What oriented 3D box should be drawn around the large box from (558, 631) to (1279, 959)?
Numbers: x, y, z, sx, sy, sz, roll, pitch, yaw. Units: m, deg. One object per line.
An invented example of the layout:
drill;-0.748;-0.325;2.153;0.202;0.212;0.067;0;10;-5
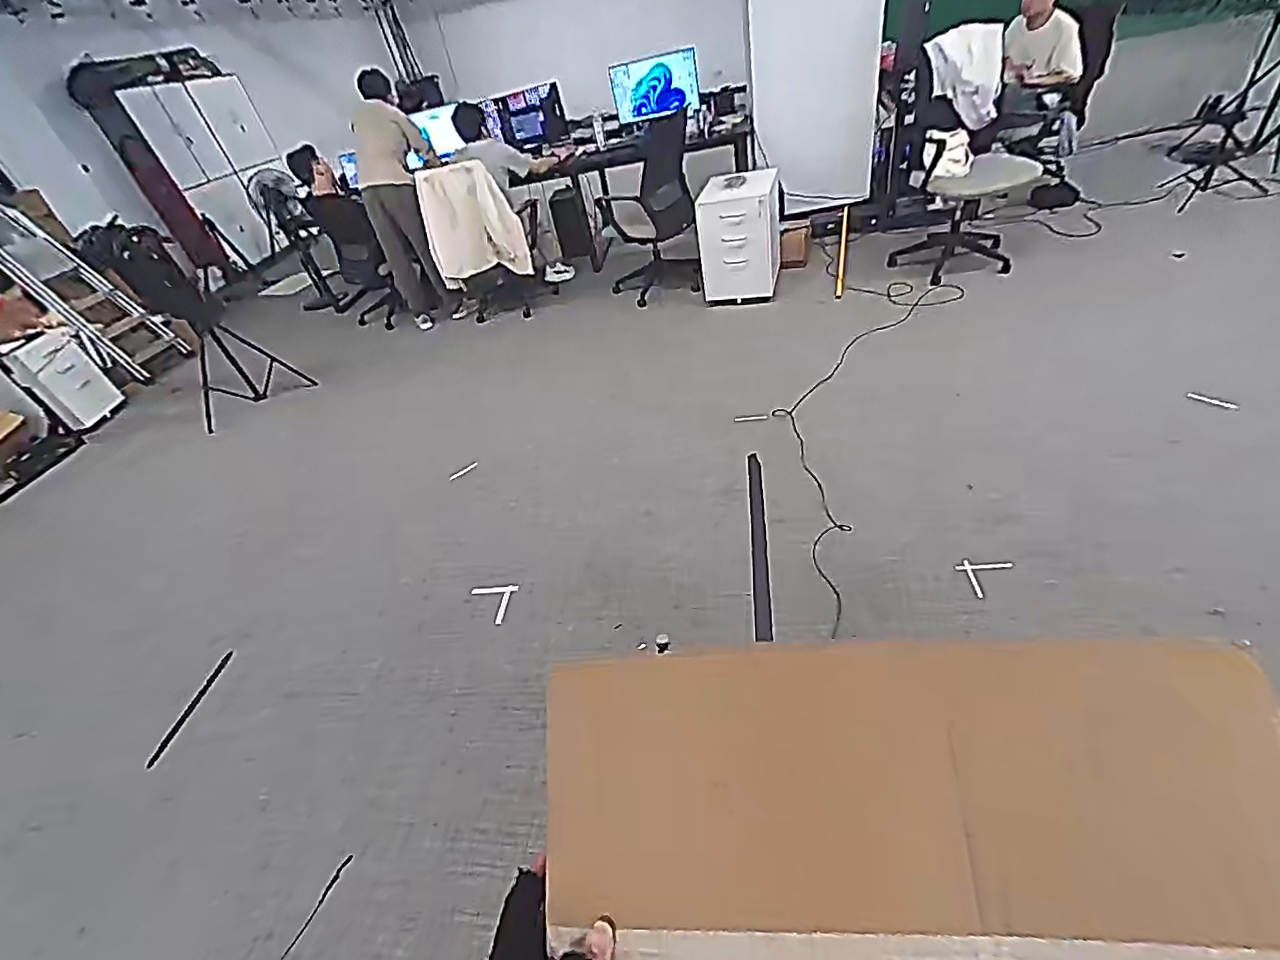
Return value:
large box;0.172;0.296;0.442;0.408;0.320;0.320;-6;75;9
